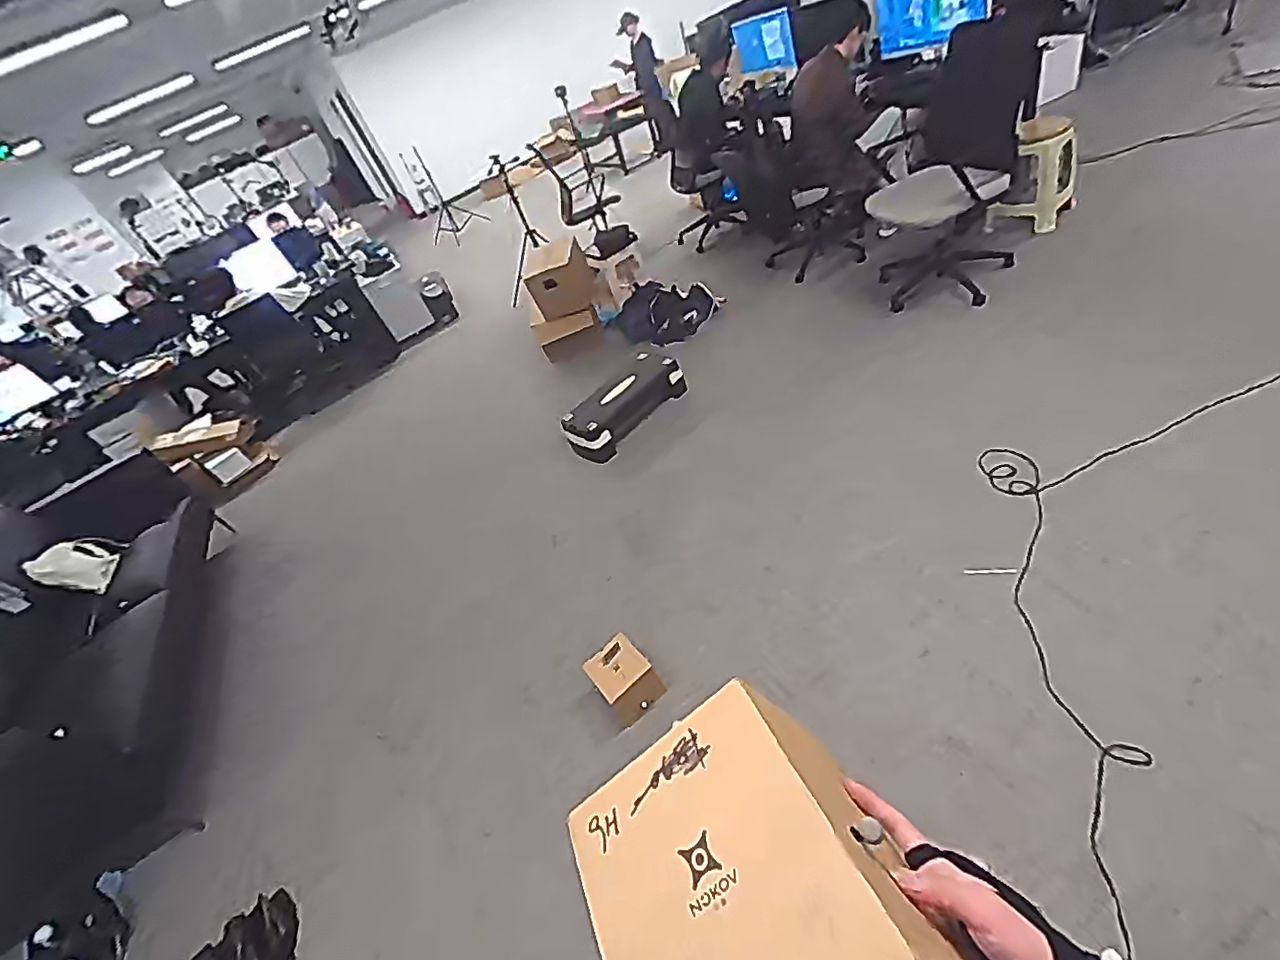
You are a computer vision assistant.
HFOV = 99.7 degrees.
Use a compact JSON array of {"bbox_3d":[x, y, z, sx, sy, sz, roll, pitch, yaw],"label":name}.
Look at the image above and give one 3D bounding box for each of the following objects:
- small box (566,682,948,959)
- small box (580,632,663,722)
[{"bbox_3d":[0.080,0.283,0.381,0.168,0.176,0.179,-40,40,4],"label":"small box"},{"bbox_3d":[-0.056,0.630,1.720,0.168,0.176,0.179,-39,42,-16],"label":"small box"}]
